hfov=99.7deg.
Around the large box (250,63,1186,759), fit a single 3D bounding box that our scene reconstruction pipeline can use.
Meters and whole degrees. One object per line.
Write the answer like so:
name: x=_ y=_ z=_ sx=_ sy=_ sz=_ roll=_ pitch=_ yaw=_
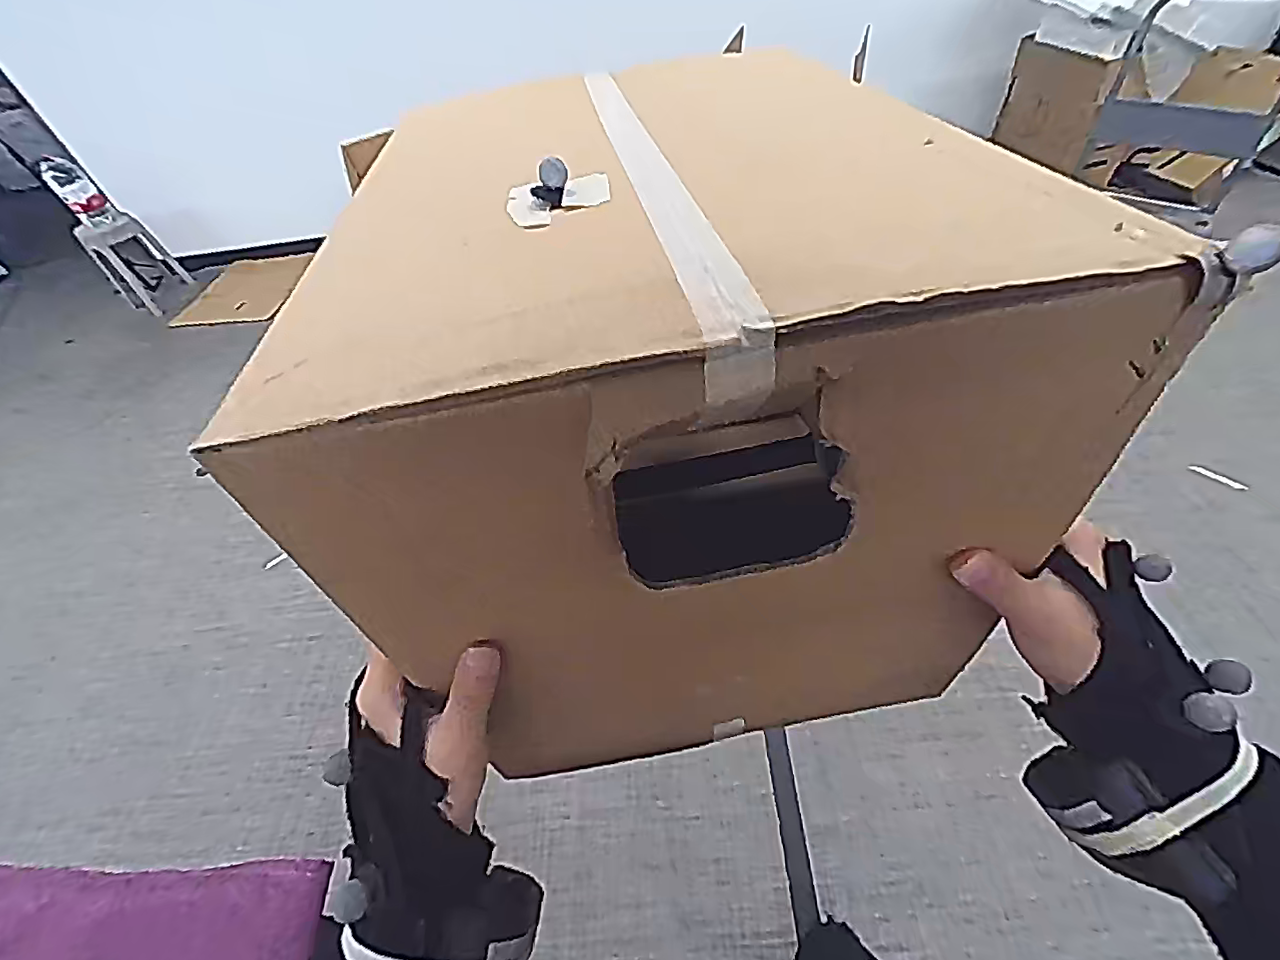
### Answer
large box: x=0.010 y=-0.072 z=0.411 sx=0.320 sy=0.320 sz=0.408 roll=-12 pitch=46 yaw=-2
